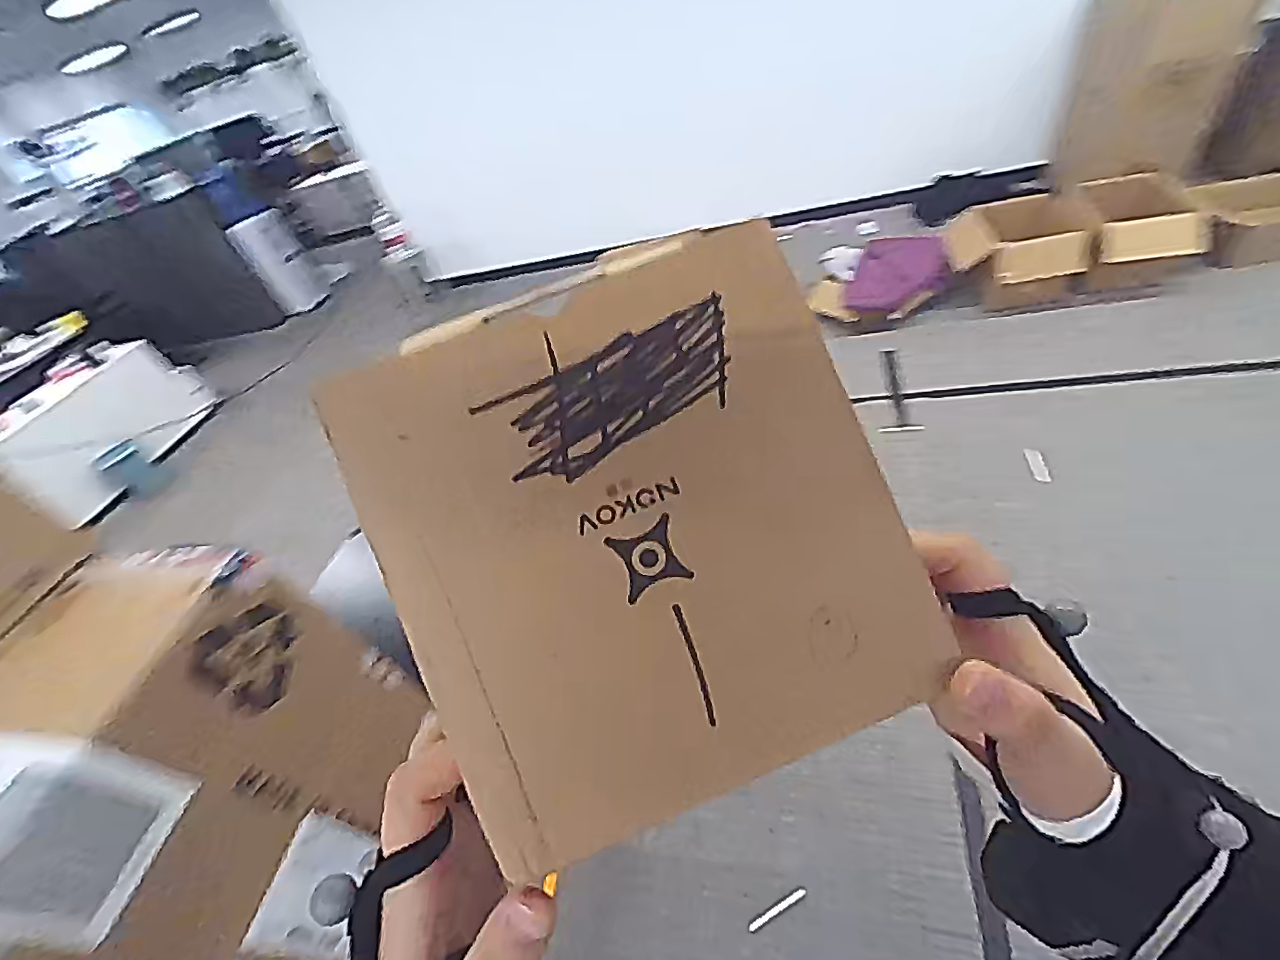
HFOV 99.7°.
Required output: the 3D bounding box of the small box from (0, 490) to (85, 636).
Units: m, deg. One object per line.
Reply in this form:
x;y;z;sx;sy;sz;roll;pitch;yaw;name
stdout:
-0.701;0.085;0.495;0.179;0.176;0.168;-7;43;16;small box
